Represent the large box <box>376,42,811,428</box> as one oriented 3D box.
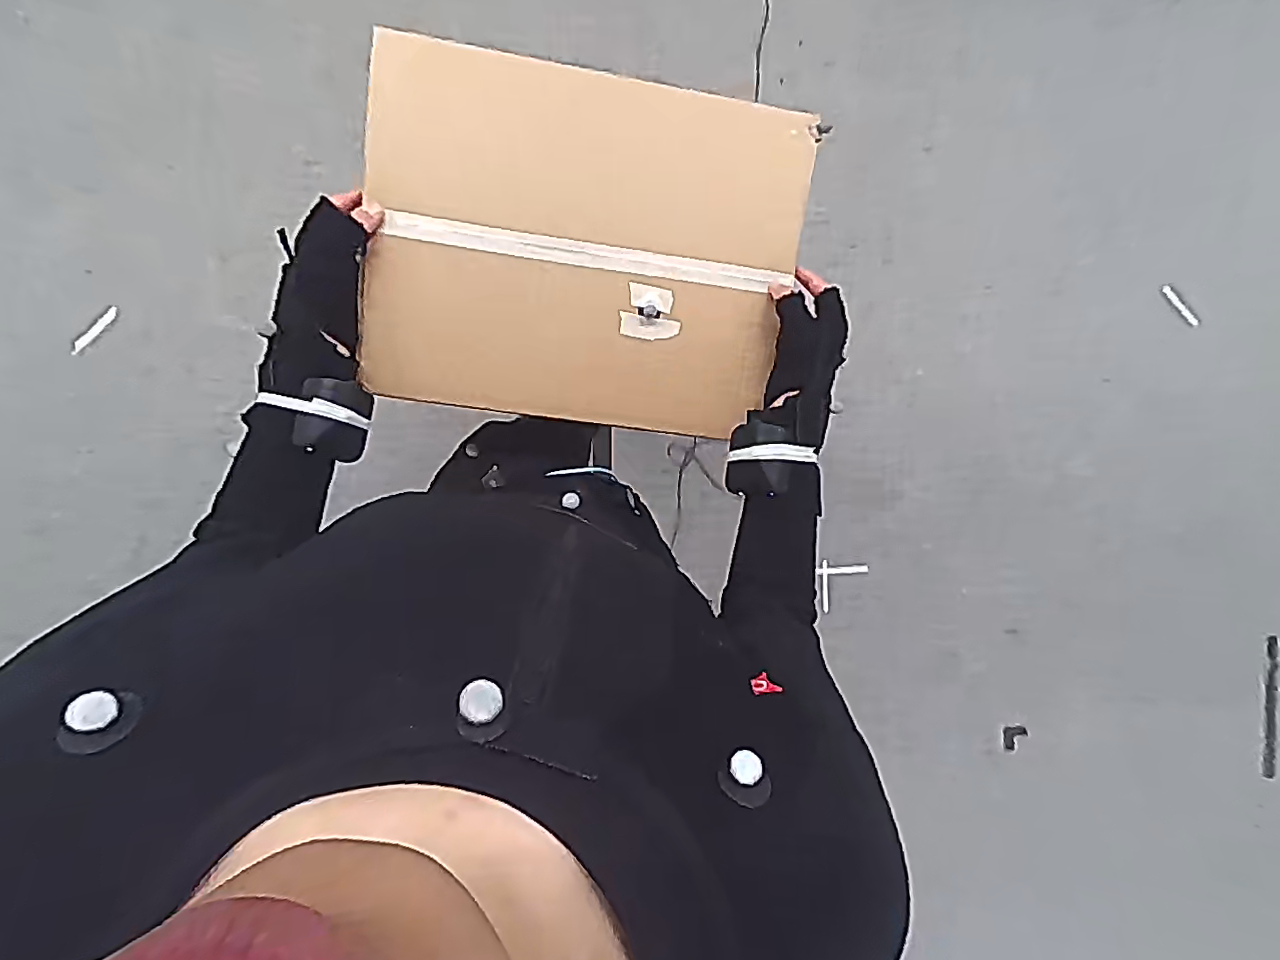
[{"bbox_3d":[-0.061,-0.249,0.674,0.408,0.320,0.320,7,100,-7],"label":"large box"}]
